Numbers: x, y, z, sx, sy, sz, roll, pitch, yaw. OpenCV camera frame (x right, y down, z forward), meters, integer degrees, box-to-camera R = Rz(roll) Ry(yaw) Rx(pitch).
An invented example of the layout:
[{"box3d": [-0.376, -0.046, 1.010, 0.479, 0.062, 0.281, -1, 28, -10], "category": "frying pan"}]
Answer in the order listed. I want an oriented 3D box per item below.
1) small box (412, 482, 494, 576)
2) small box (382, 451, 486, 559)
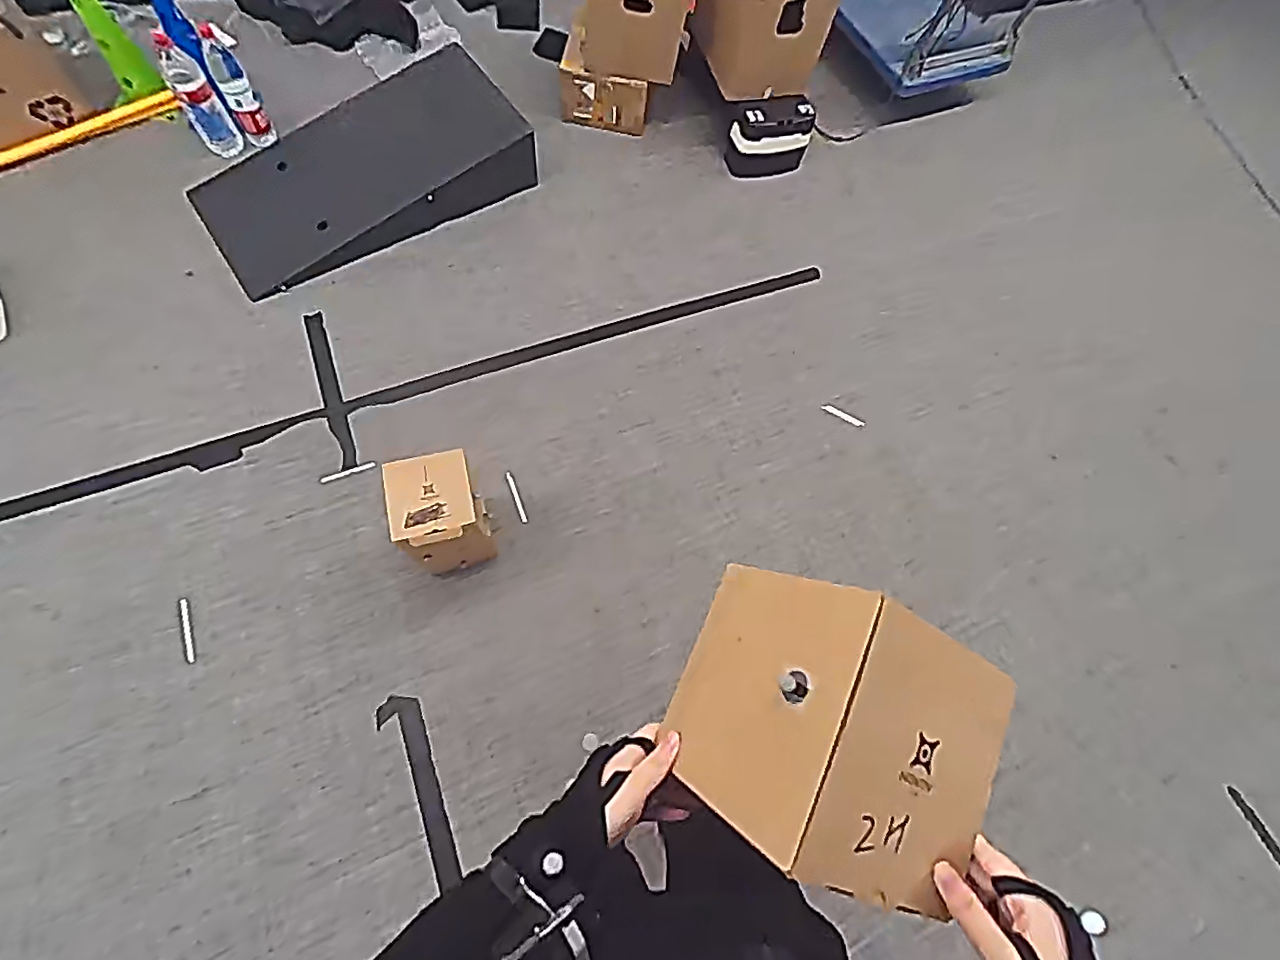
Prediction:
[{"box3d": [-0.461, 0.119, 1.317, 0.179, 0.176, 0.168, -17, 71, -14], "category": "small box"}, {"box3d": [-0.436, 0.062, 1.164, 0.168, 0.176, 0.179, -13, 70, -12], "category": "small box"}]
